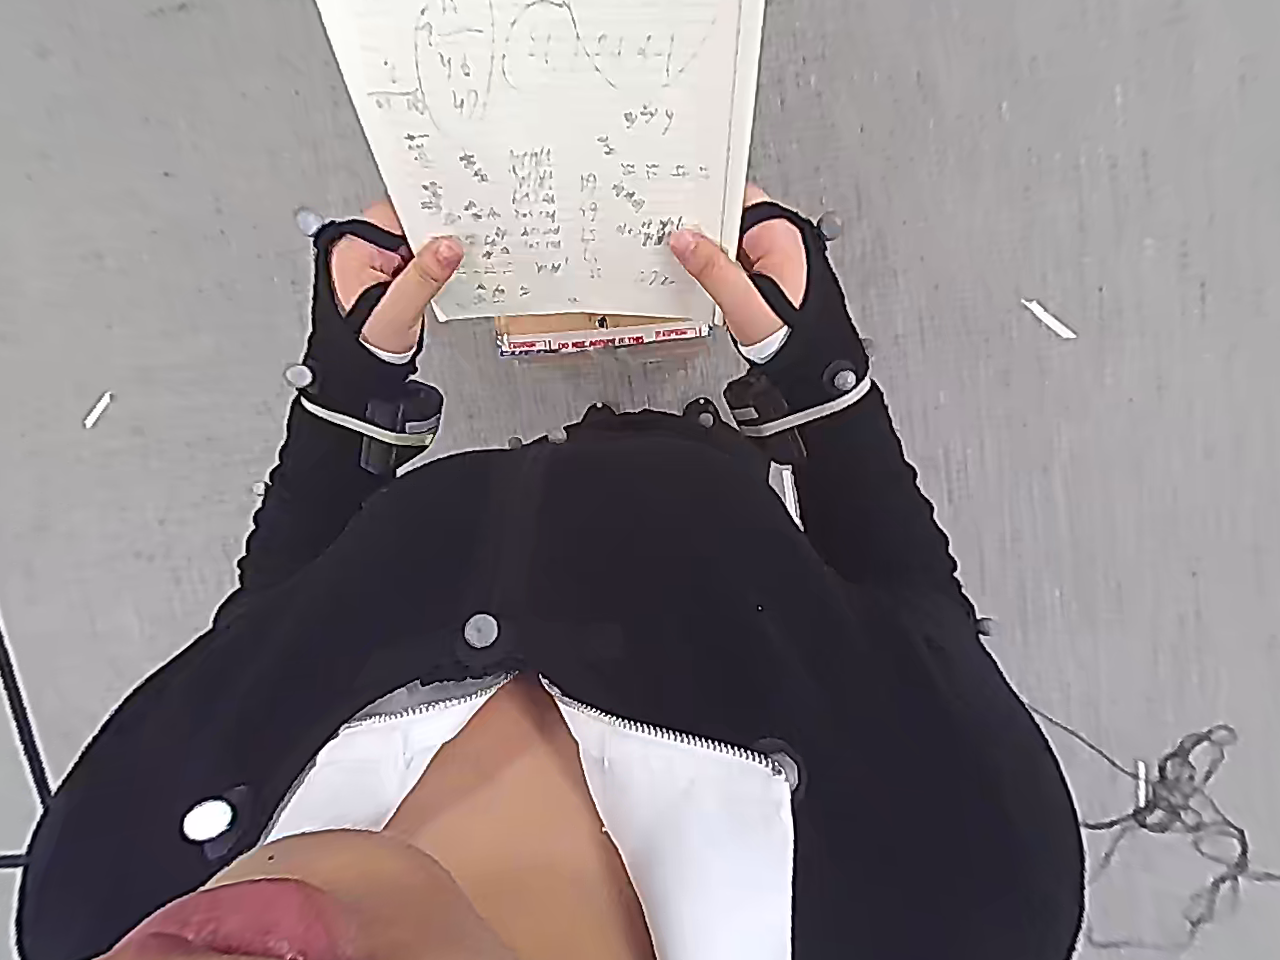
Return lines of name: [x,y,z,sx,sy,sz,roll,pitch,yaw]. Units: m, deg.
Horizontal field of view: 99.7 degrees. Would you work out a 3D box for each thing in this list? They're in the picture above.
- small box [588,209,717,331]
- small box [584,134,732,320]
small box: [0.021,-0.344,0.876,0.179,0.176,0.168,-9,99,3]
small box: [0.022,-0.318,0.713,0.168,0.176,0.179,-6,100,2]
